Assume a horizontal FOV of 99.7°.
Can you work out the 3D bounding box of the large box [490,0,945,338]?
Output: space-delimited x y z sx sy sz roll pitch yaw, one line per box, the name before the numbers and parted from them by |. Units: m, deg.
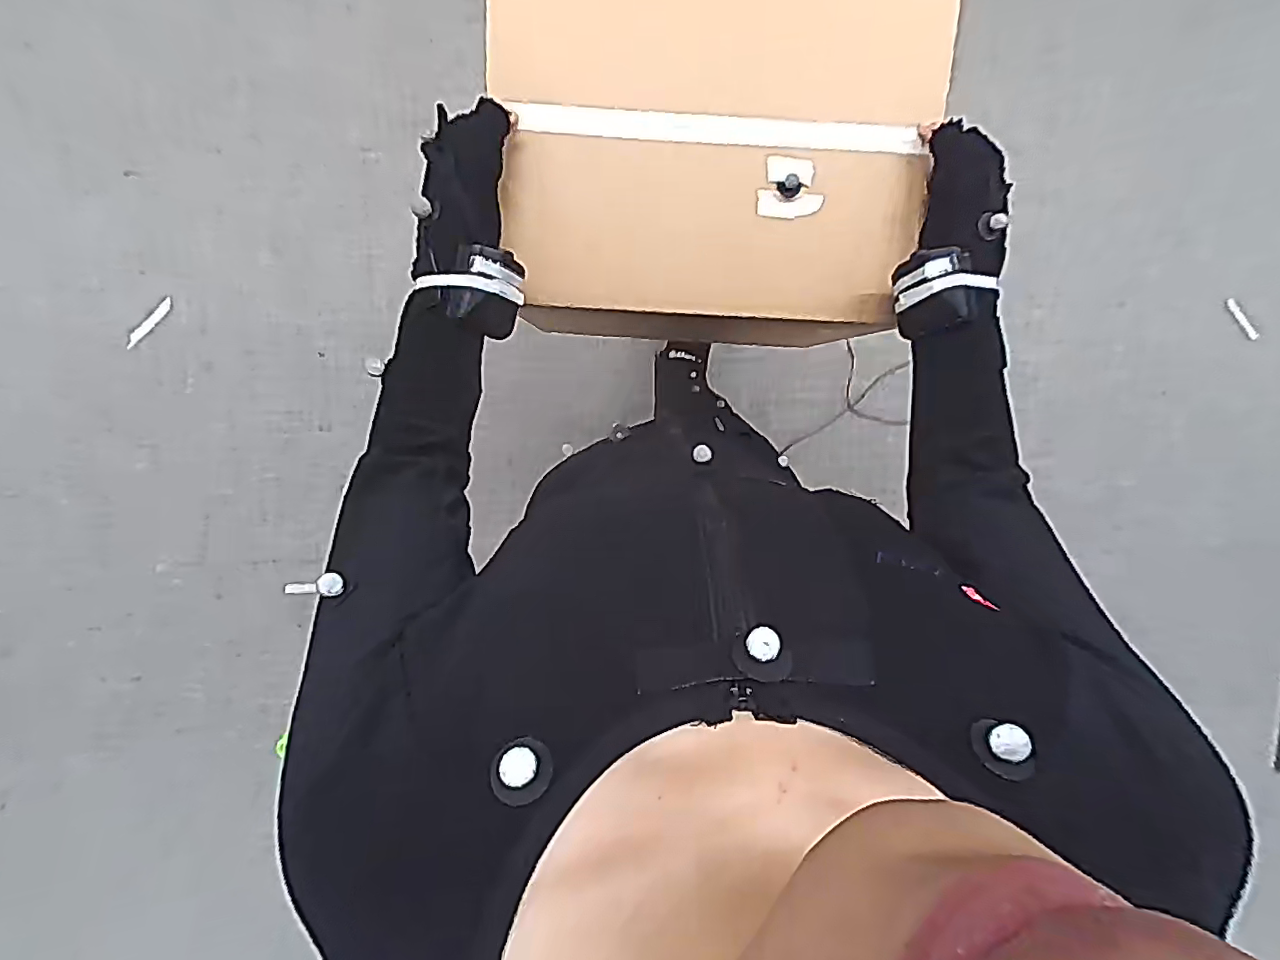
large box | 0.059 -0.343 0.631 0.408 0.320 0.320 2 100 -3
